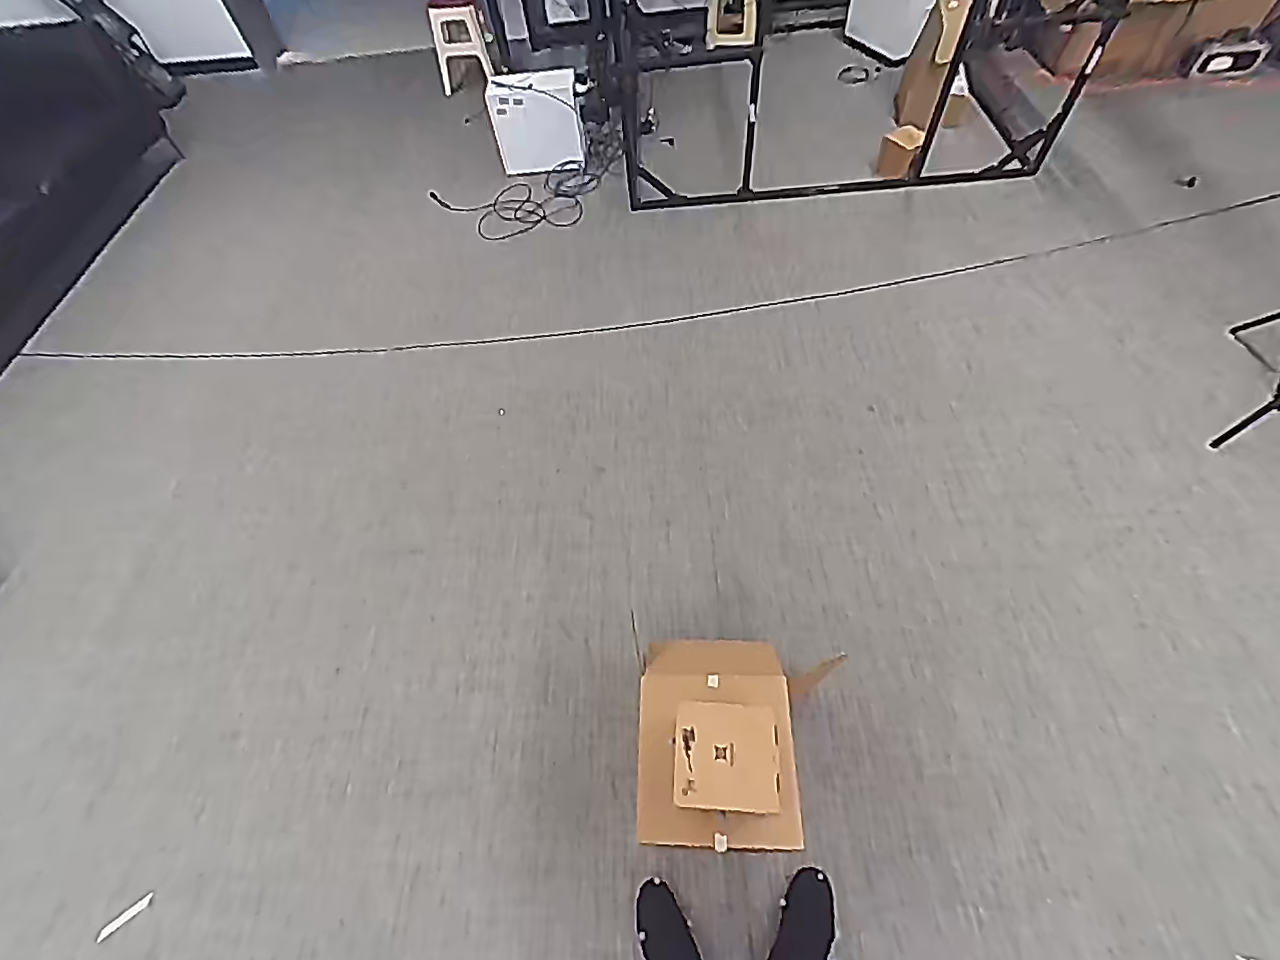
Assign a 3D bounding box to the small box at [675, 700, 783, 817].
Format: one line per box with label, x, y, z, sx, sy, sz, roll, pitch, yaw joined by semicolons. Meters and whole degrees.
small box;0.156;0.508;0.985;0.179;0.176;0.168;2;58;6
